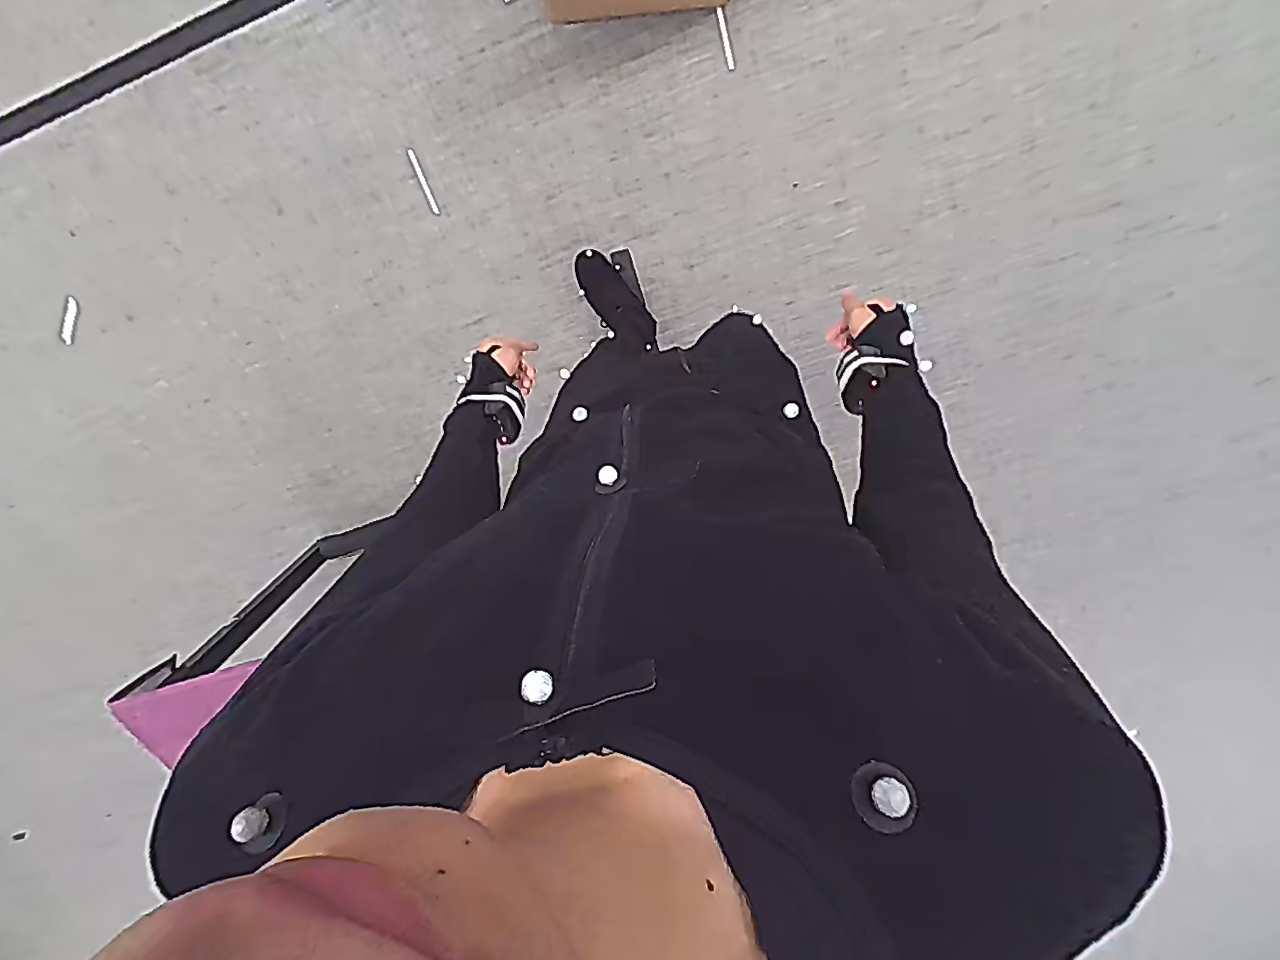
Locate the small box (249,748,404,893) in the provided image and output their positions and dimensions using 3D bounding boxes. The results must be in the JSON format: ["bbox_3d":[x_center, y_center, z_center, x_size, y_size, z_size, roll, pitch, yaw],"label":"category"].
[{"bbox_3d":[-0.618,0.681,1.092,0.179,0.176,0.168,-19,113,8],"label":"small box"}]
